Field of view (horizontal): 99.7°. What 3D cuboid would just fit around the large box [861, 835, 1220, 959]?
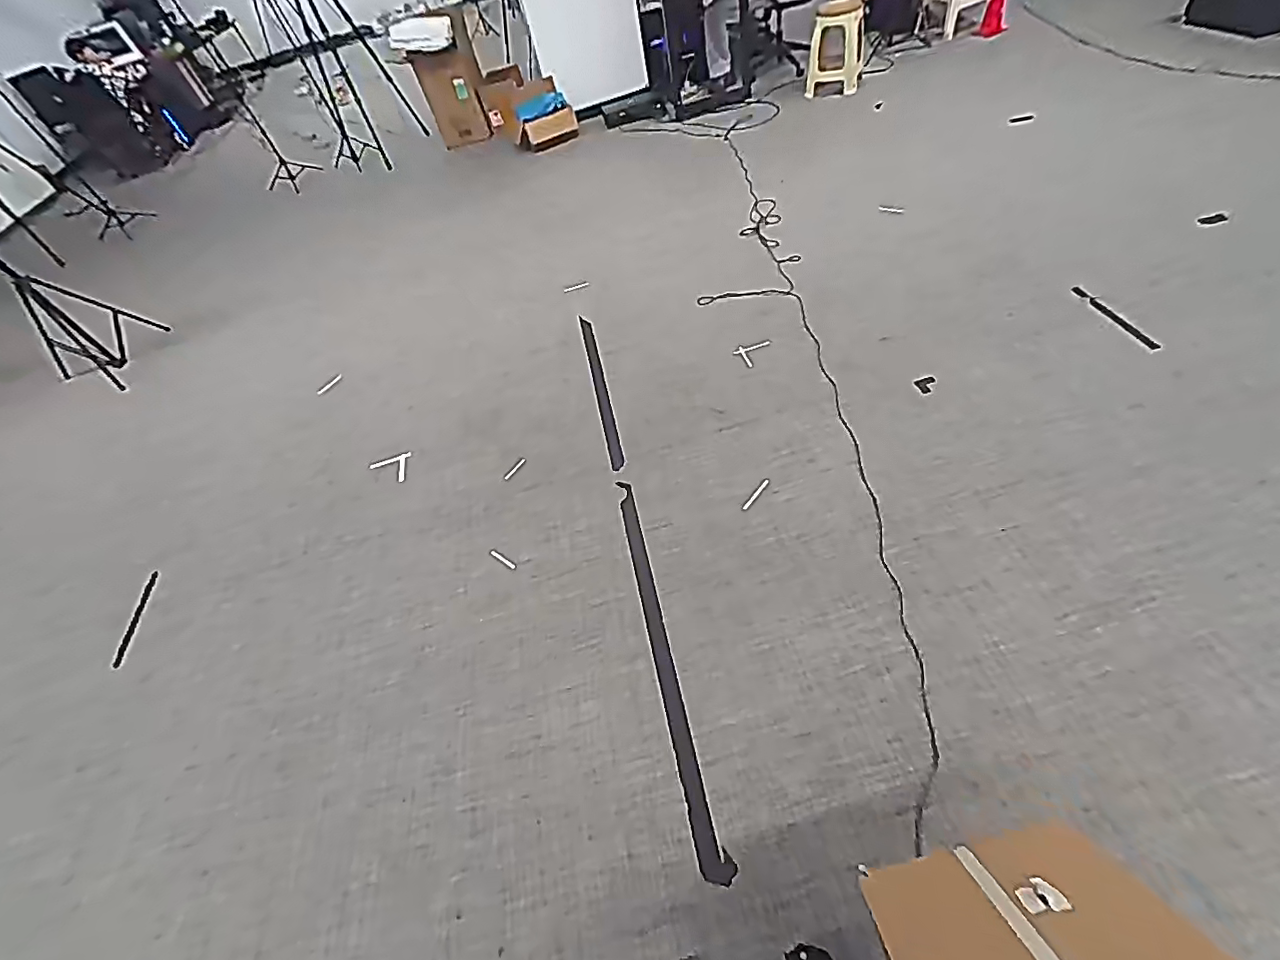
[{"bbox_3d":[0.498,0.683,0.588,0.320,0.408,0.320,-18,80,5],"label":"large box"}]
